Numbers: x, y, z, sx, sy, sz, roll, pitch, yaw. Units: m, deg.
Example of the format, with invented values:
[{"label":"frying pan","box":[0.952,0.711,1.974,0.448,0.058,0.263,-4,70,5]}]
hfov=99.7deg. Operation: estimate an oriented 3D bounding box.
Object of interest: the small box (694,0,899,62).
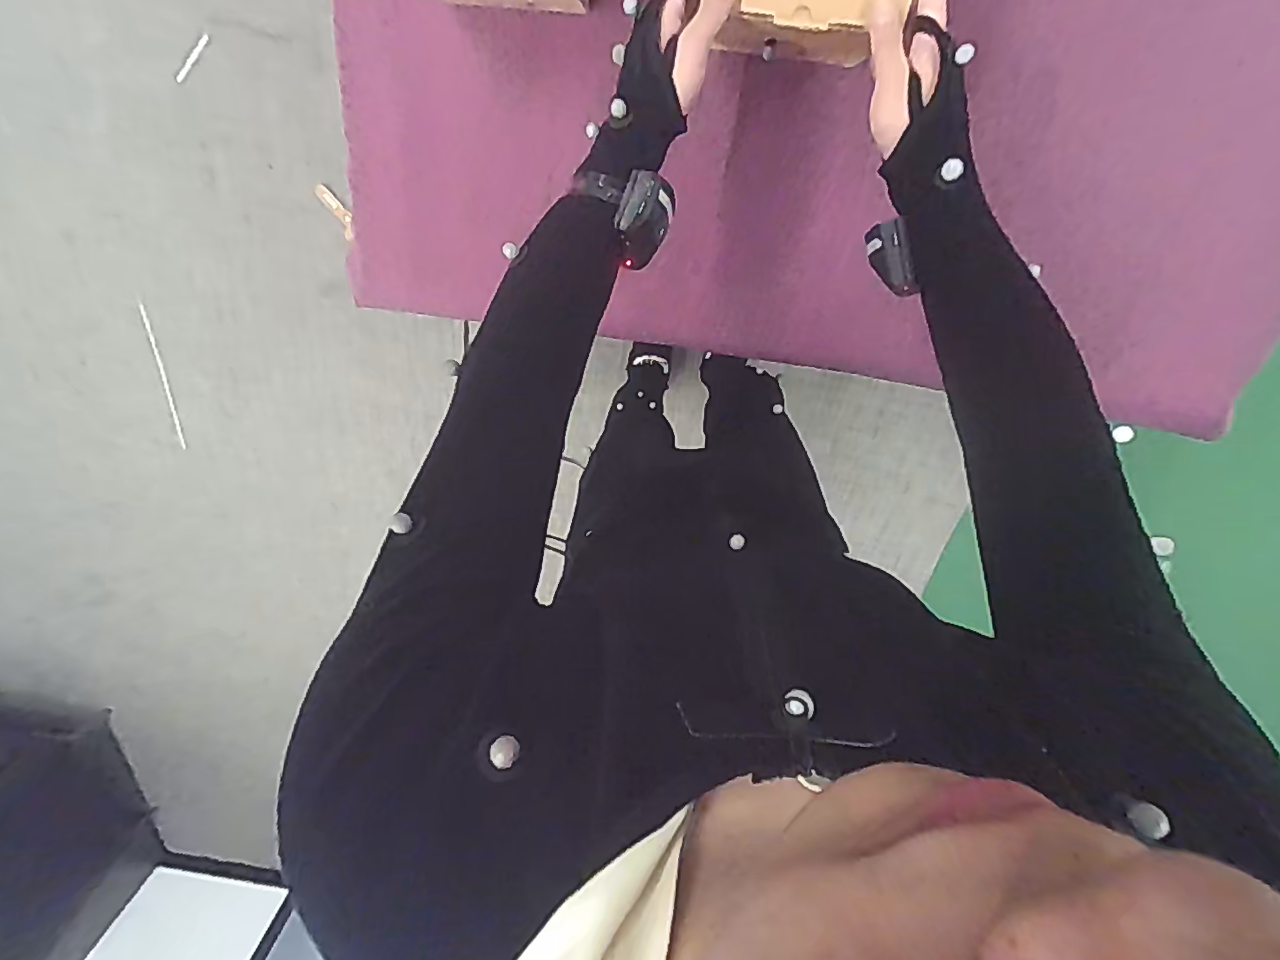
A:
[{"label":"small box","box":[0.140,-0.487,0.464,0.168,0.176,0.179,9,123,2]}]
